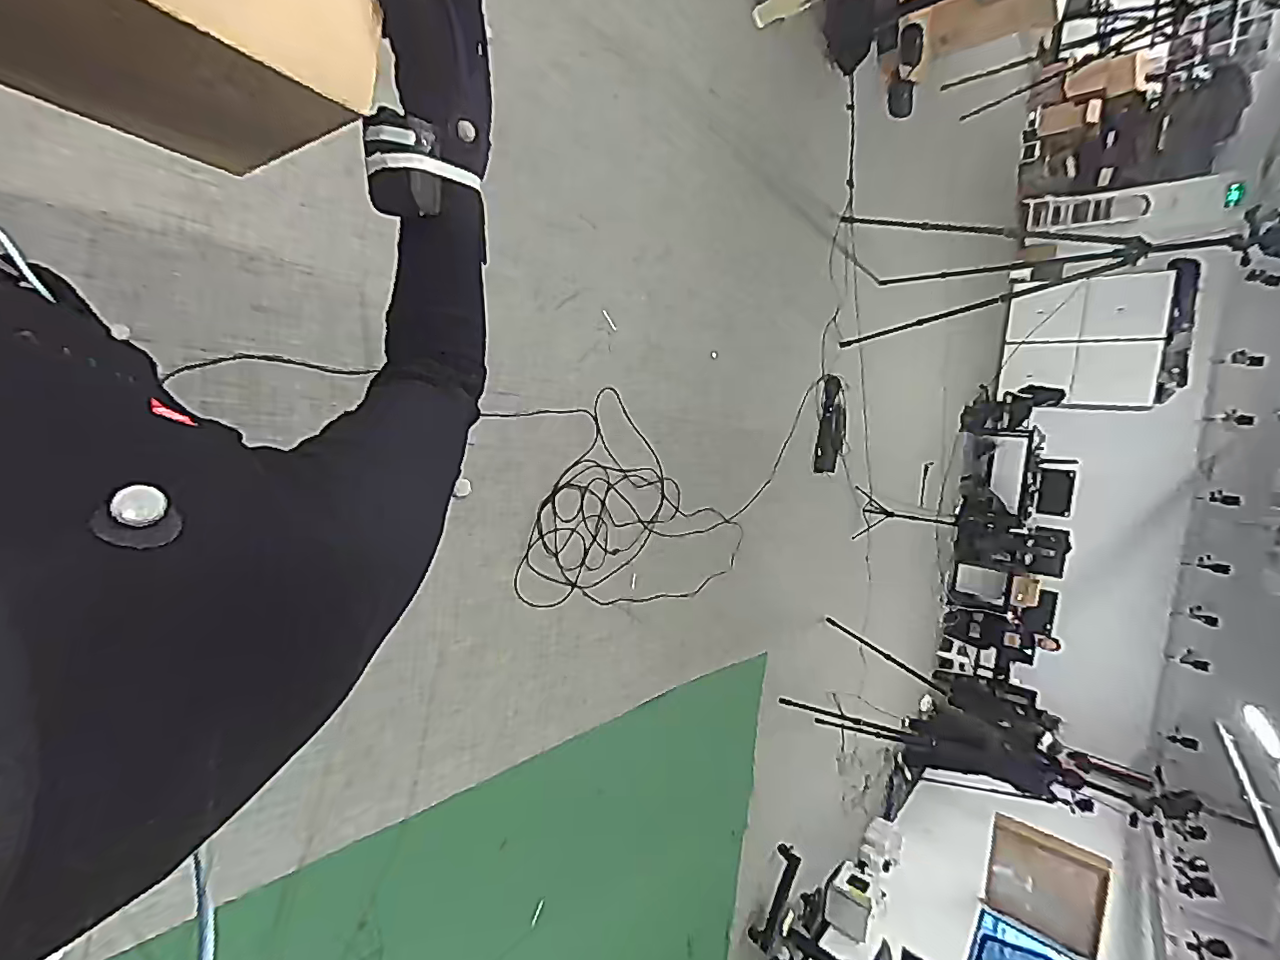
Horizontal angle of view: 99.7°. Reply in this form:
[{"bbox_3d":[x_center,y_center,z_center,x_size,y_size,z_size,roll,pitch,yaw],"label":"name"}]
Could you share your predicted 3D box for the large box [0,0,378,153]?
[{"bbox_3d":[-0.401,-0.452,0.298,0.408,0.320,0.320,2,103,-50],"label":"large box"}]
